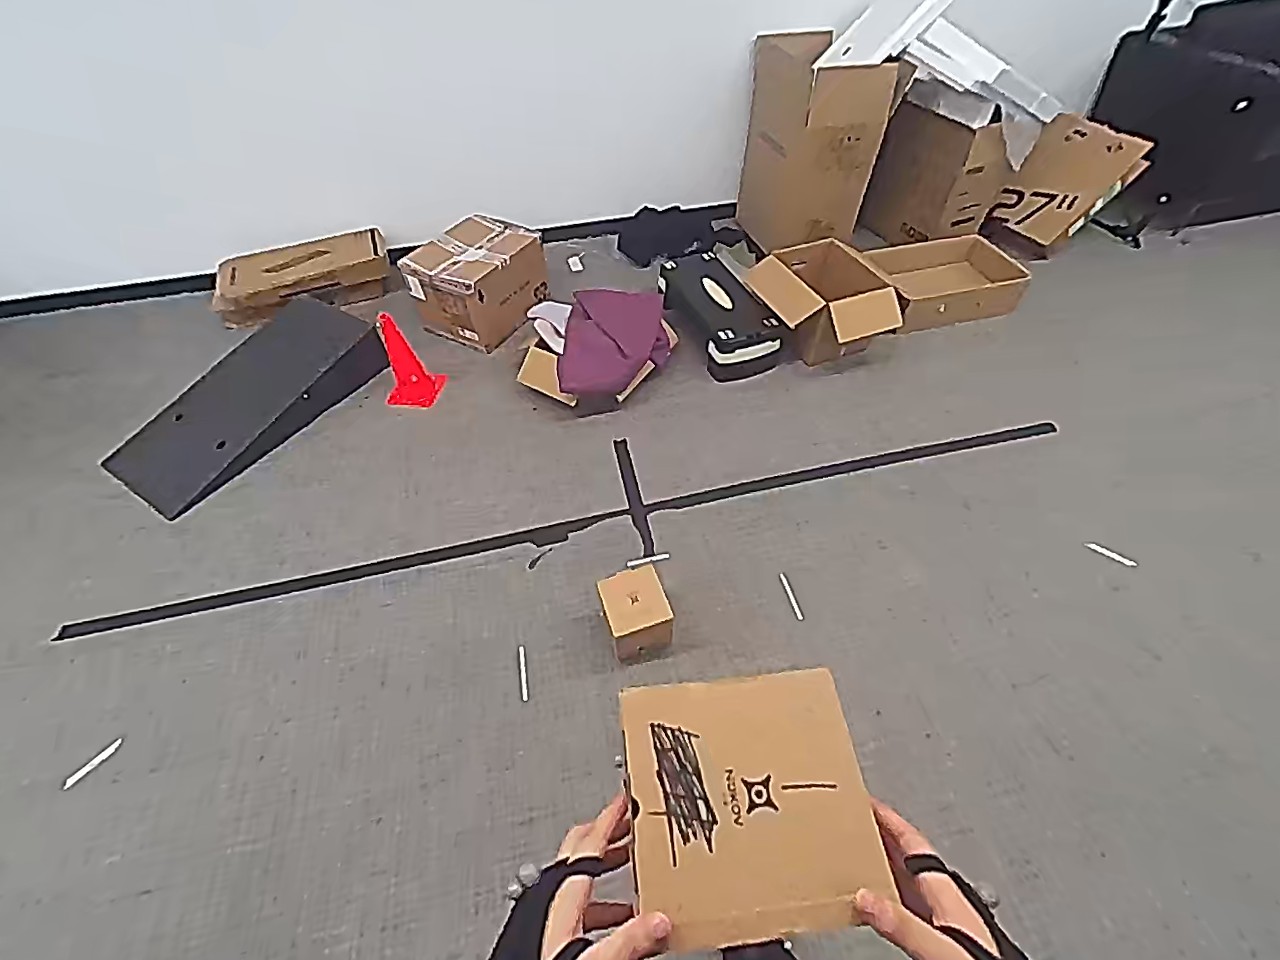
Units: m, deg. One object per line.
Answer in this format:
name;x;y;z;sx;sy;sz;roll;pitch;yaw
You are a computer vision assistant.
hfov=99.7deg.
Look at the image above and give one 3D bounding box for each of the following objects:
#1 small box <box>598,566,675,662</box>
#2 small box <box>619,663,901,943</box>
small box;-0.011;0.371;1.495;0.168;0.176;0.179;-17;53;-10
small box;0.079;0.269;0.457;0.179;0.176;0.168;-5;55;-3
